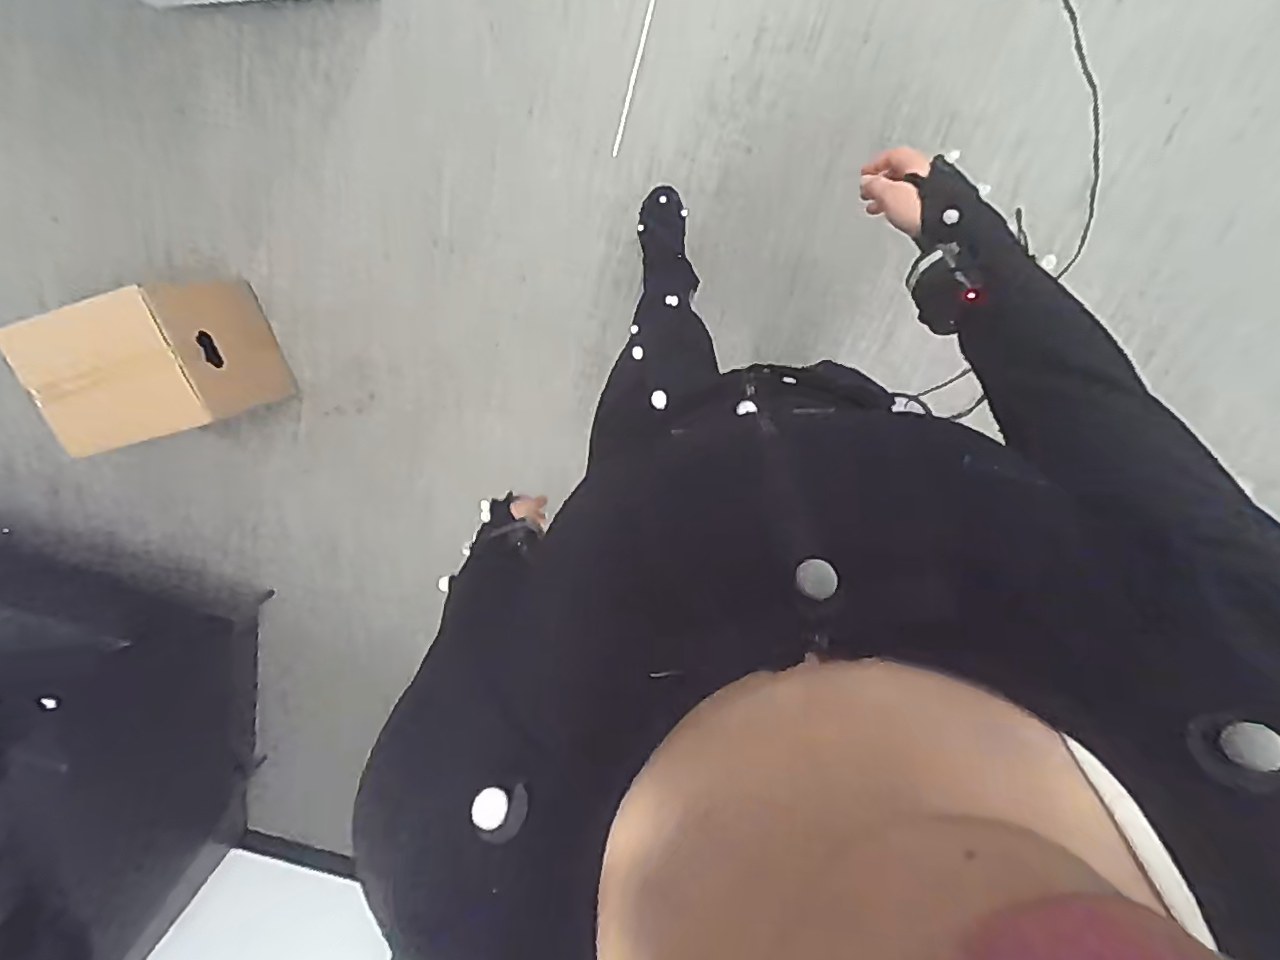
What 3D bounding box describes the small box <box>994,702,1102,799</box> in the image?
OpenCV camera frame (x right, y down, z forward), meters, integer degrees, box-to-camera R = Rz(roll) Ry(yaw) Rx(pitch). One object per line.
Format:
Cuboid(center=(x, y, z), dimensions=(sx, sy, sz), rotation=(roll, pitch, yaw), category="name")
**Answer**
Cuboid(center=(1.232, 0.824, 1.655), dimensions=(0.168, 0.176, 0.179), rotation=(22, 112, -4), category="small box")
